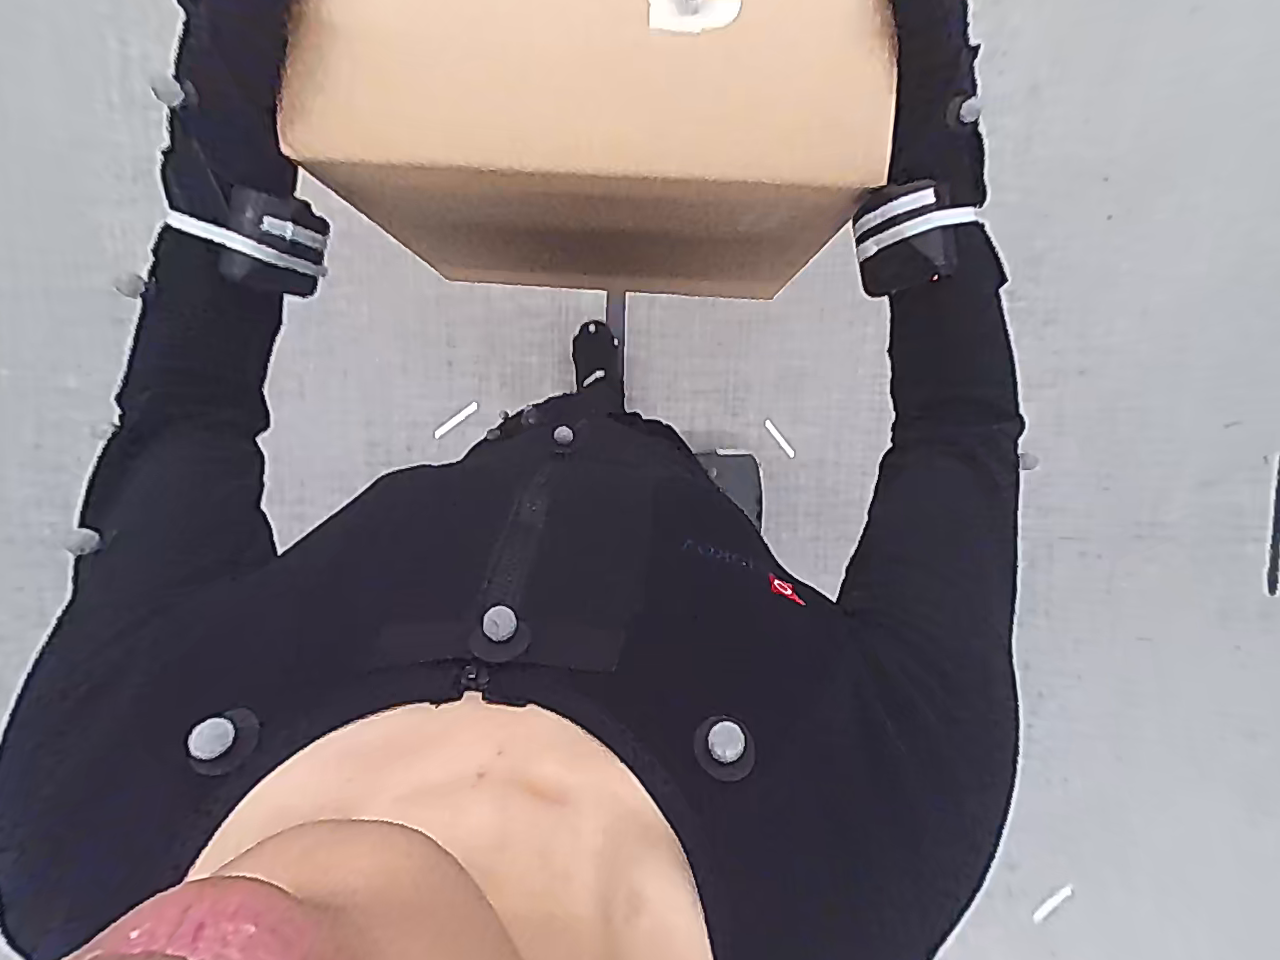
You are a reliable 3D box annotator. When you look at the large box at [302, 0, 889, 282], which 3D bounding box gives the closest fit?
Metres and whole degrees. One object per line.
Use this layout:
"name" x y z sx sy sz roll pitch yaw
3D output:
"large box" -0.029 -0.388 0.509 0.408 0.320 0.320 3 96 0
